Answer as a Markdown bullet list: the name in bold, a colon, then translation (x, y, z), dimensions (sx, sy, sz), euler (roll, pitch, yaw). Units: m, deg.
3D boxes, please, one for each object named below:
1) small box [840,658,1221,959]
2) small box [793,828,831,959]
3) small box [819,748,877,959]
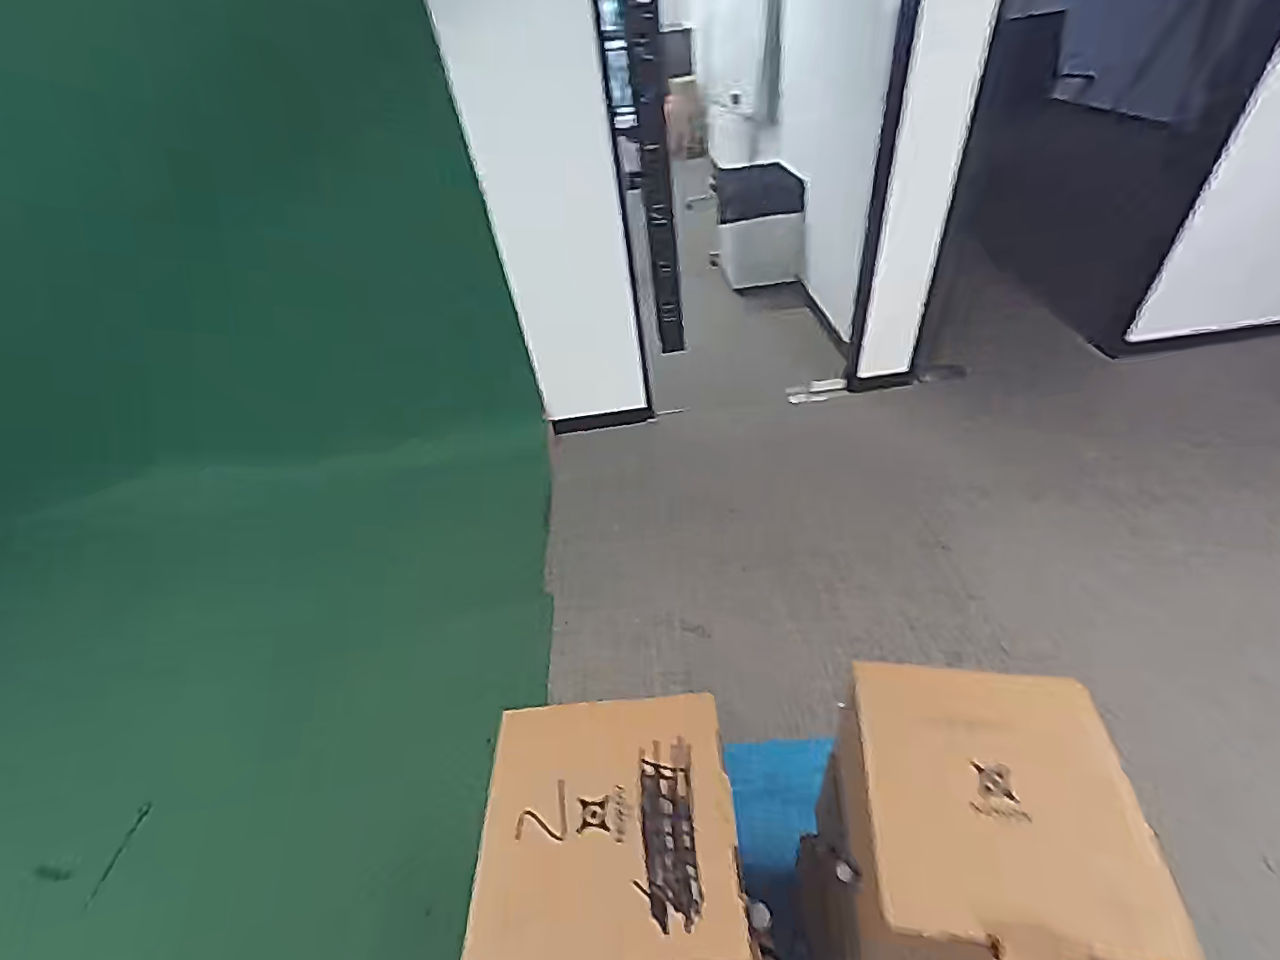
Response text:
- **small box**: translation (0.251, 0.263, 0.408), dimensions (0.168, 0.176, 0.179), euler (2, 41, 12)
- **small box**: translation (0.277, 0.515, 0.612), dimensions (0.168, 0.176, 0.179), euler (-5, 42, 4)
- **small box**: translation (0.269, 0.385, 0.514), dimensions (0.168, 0.176, 0.179), euler (0, 41, 11)
